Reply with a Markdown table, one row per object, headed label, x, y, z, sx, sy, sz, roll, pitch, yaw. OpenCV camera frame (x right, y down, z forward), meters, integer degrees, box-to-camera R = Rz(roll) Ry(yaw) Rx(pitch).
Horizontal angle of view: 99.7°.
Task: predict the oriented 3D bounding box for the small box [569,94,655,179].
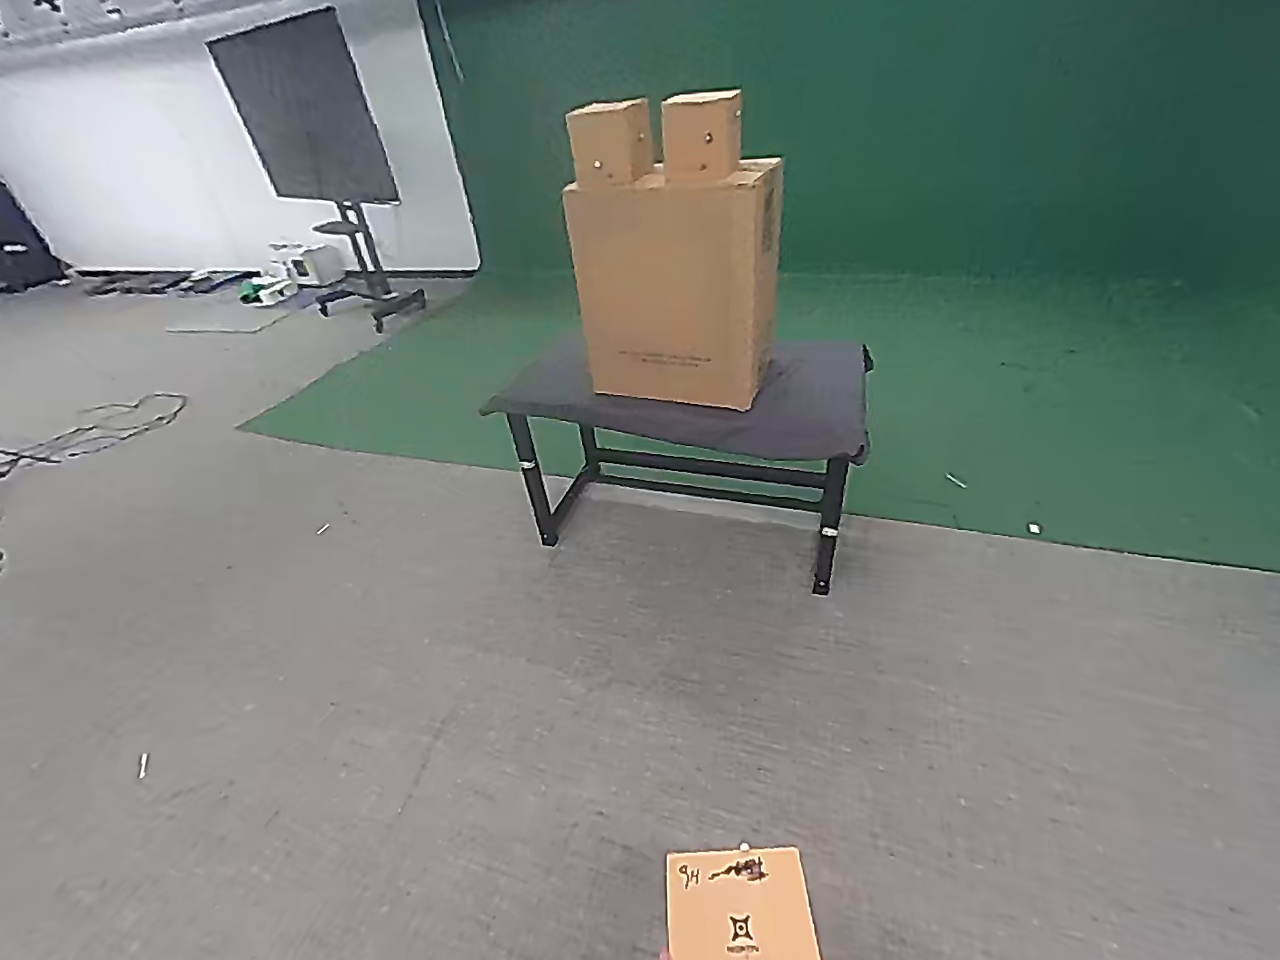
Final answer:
| label | x | y | z | sx | sy | sz | roll | pitch | yaw |
| --- | --- | --- | --- | --- | --- | --- | --- | --- | --- |
| small box | -0.067 | -0.914 | 1.441 | 0.168 | 0.176 | 0.179 | 10 | 42 | 22 |

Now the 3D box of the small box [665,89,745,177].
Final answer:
| label | x | y | z | sx | sy | sz | roll | pitch | yaw |
| --- | --- | --- | --- | --- | --- | --- | --- | --- | --- |
| small box | 0.168 | -0.881 | 1.375 | 0.168 | 0.176 | 0.179 | 9 | 41 | 15 |

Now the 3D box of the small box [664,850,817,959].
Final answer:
| label | x | y | z | sx | sy | sz | roll | pitch | yaw |
| --- | --- | --- | --- | --- | --- | --- | --- | --- | --- |
| small box | 0.126 | 0.590 | 0.661 | 0.168 | 0.176 | 0.179 | -8 | 36 | 2 |
